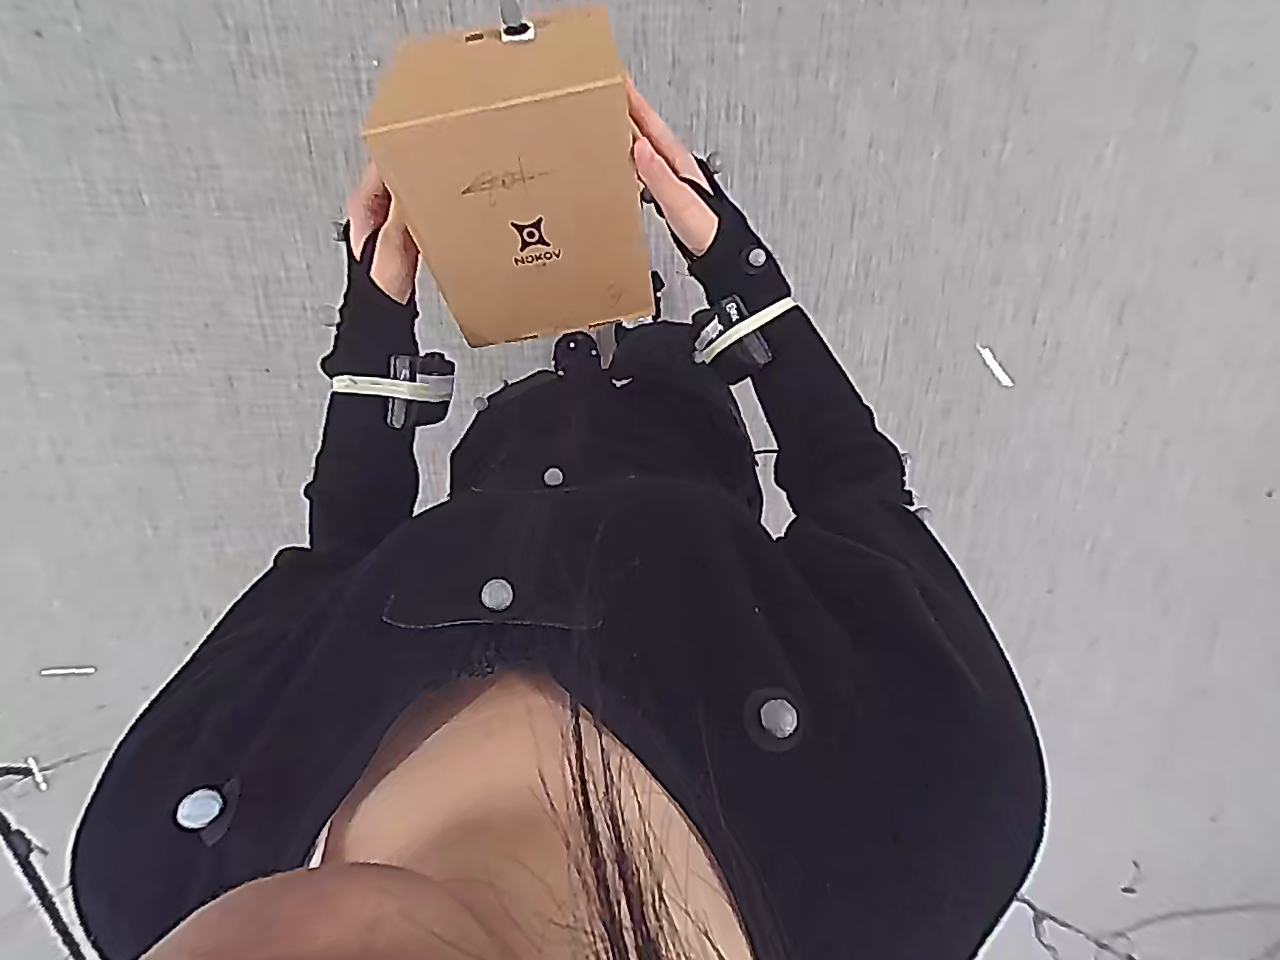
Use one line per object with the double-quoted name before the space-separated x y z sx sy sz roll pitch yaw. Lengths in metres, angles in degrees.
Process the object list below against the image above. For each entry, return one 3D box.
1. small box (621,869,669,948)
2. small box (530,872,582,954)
"small box" 0.015 1.574 1.989 0.168 0.176 0.179 0 110 -3
"small box" -0.301 1.571 1.968 0.168 0.176 0.179 -2 109 -3
